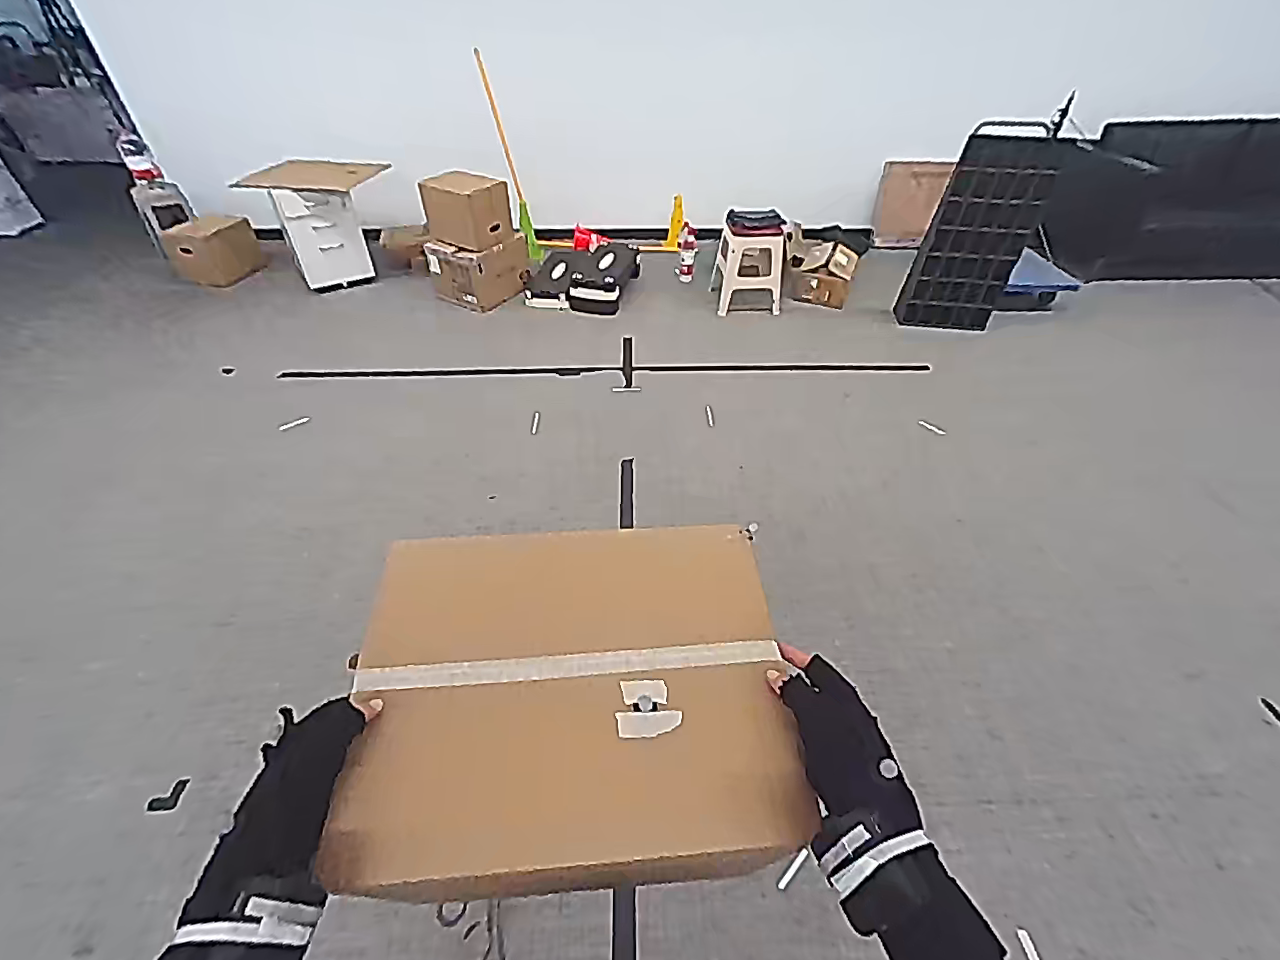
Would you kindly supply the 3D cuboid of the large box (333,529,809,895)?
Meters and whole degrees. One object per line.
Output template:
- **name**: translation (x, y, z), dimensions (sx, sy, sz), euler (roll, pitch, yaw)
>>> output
- **large box**: translation (-0.070, 0.280, 0.653), dimensions (0.408, 0.320, 0.320), euler (-2, 51, -5)
